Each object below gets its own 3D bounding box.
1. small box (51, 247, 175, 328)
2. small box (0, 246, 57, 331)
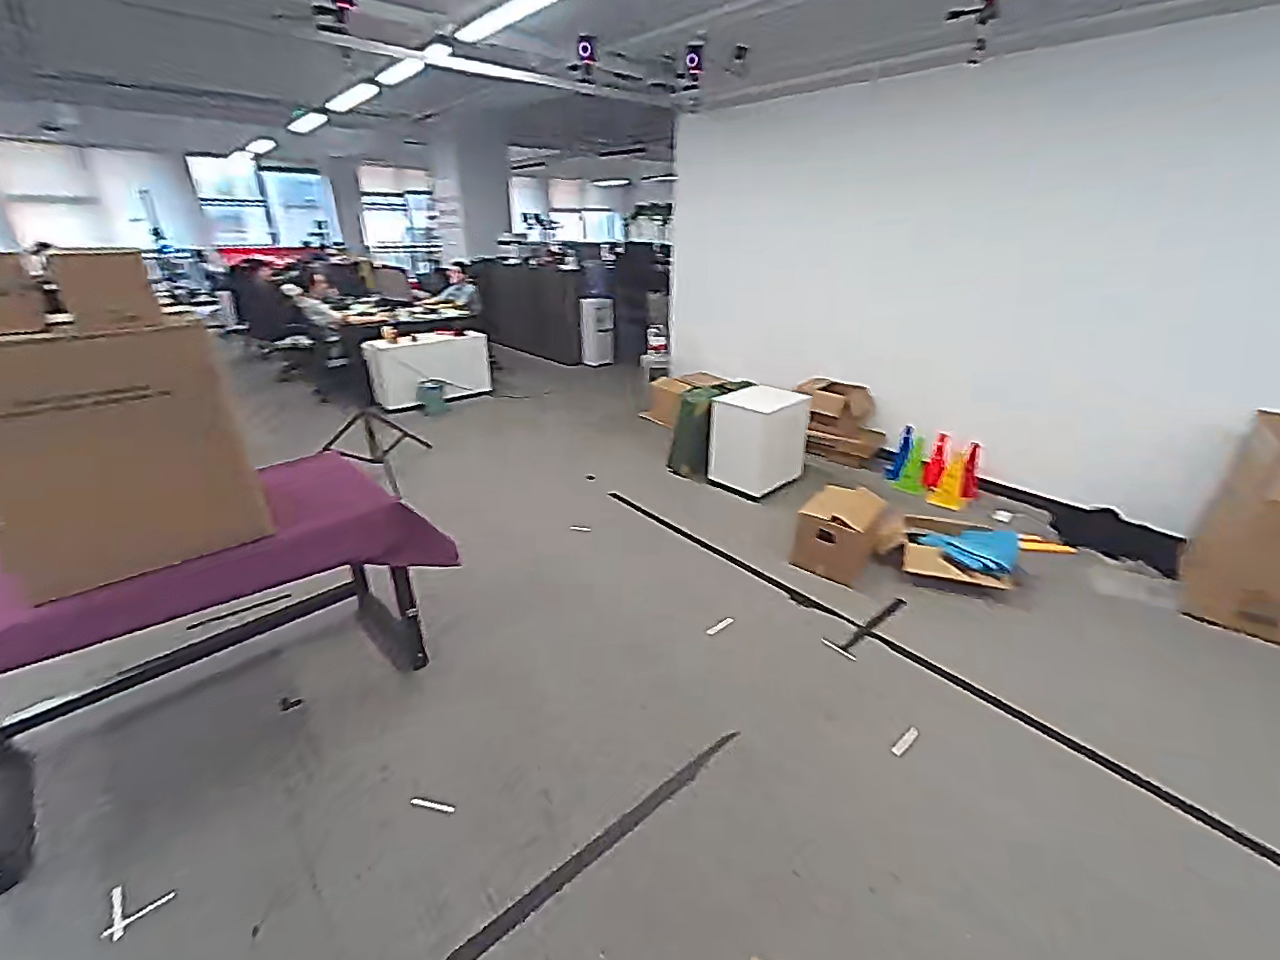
[{"bbox_3d":[-1.247,-0.463,1.292,0.168,0.176,0.179,-19,32,-34],"label":"small box"},{"bbox_3d":[-1.445,-0.420,1.192,0.179,0.176,0.168,-19,30,-36],"label":"small box"}]
